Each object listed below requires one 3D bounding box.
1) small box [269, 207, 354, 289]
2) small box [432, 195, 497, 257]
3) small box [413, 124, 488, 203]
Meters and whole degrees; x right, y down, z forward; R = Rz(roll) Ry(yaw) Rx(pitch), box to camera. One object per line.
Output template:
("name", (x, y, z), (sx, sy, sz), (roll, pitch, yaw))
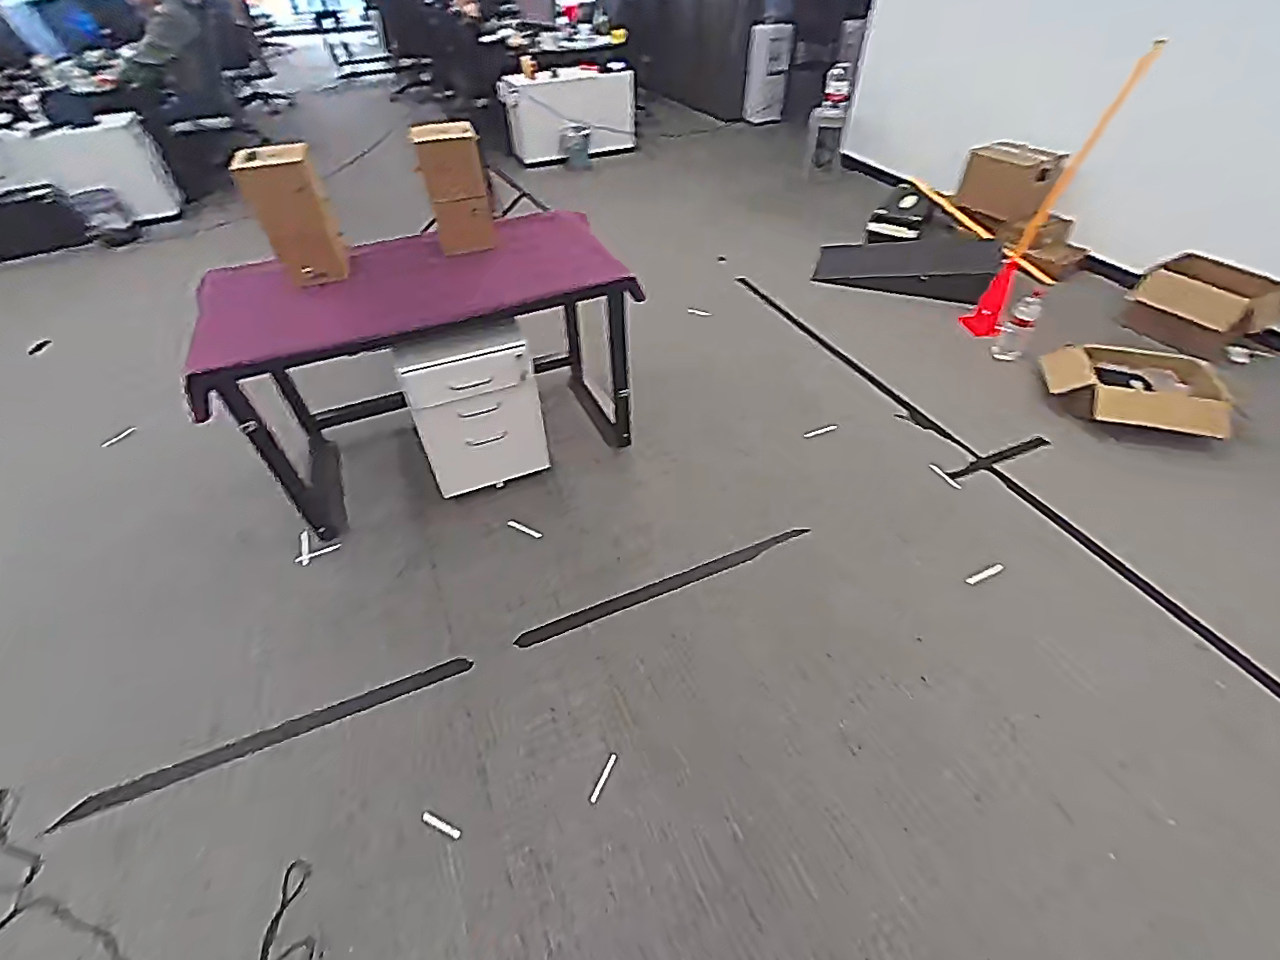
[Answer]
("small box", (-0.998, -0.710, 1.657), (0.168, 0.176, 0.179), (-15, 50, -11))
("small box", (-0.581, -0.864, 1.796), (0.179, 0.176, 0.168), (-16, 48, -13))
("small box", (-0.586, -0.978, 1.678), (0.179, 0.176, 0.168), (-15, 49, -12))
